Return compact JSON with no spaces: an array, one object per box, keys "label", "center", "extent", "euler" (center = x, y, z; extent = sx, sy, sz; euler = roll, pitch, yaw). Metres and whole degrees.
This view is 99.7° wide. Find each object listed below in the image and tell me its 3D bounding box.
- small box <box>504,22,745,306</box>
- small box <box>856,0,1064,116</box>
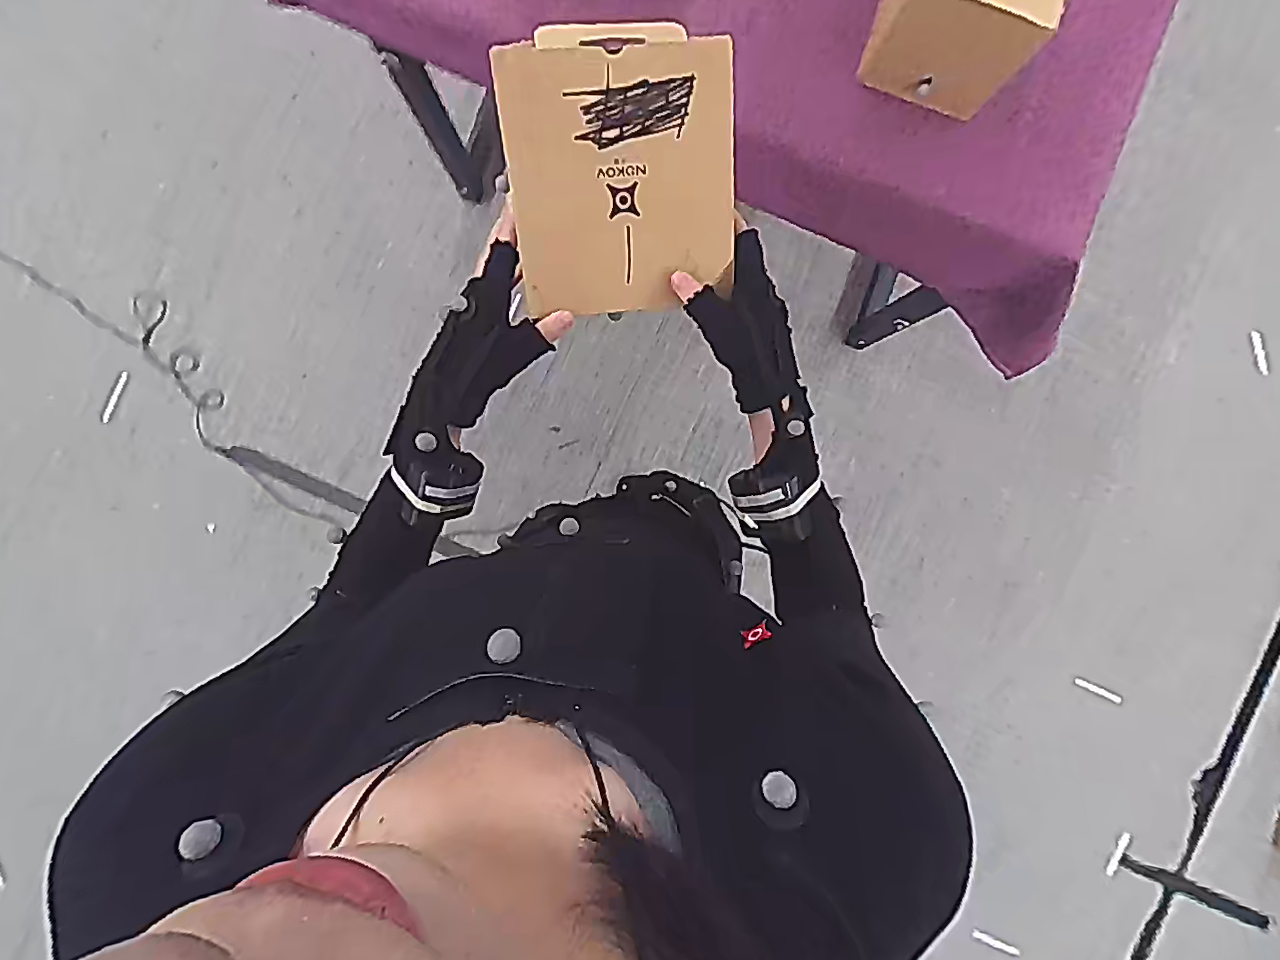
[{"label":"small box","center":[-0.015,-0.248,0.461],"extent":[0.168,0.176,0.179],"euler":[-6,112,-5]},{"label":"small box","center":[0.418,-0.620,0.703],"extent":[0.179,0.176,0.168],"euler":[18,90,-3]}]
